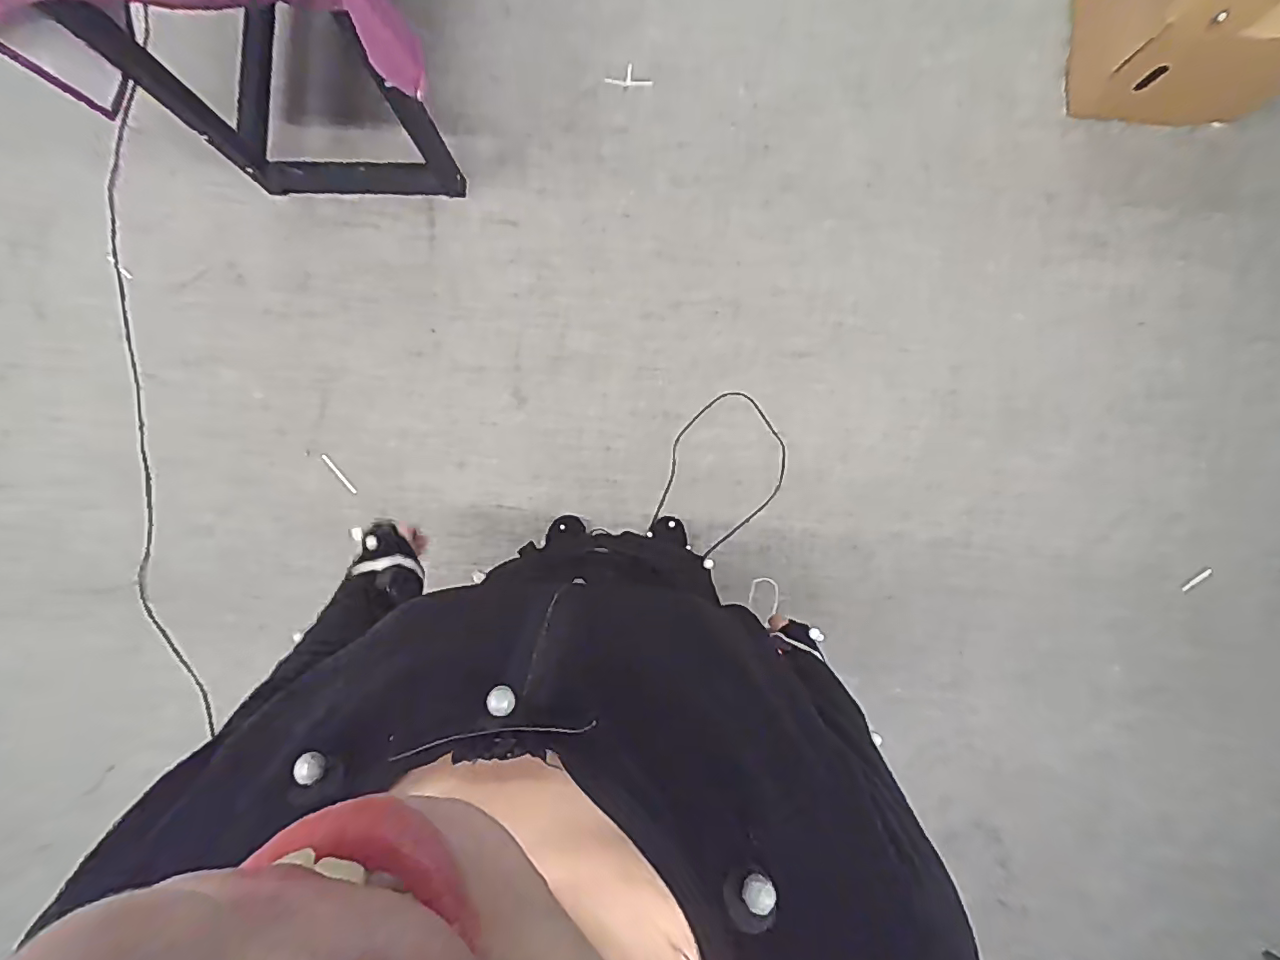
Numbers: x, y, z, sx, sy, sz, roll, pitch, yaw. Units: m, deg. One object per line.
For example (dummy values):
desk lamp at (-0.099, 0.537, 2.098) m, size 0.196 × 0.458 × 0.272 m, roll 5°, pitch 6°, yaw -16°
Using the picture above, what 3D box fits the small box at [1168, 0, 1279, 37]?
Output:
small box at (1.320, -1.115, 1.176) m, size 0.179 × 0.176 × 0.168 m, roll 6°, pitch 88°, yaw -1°
